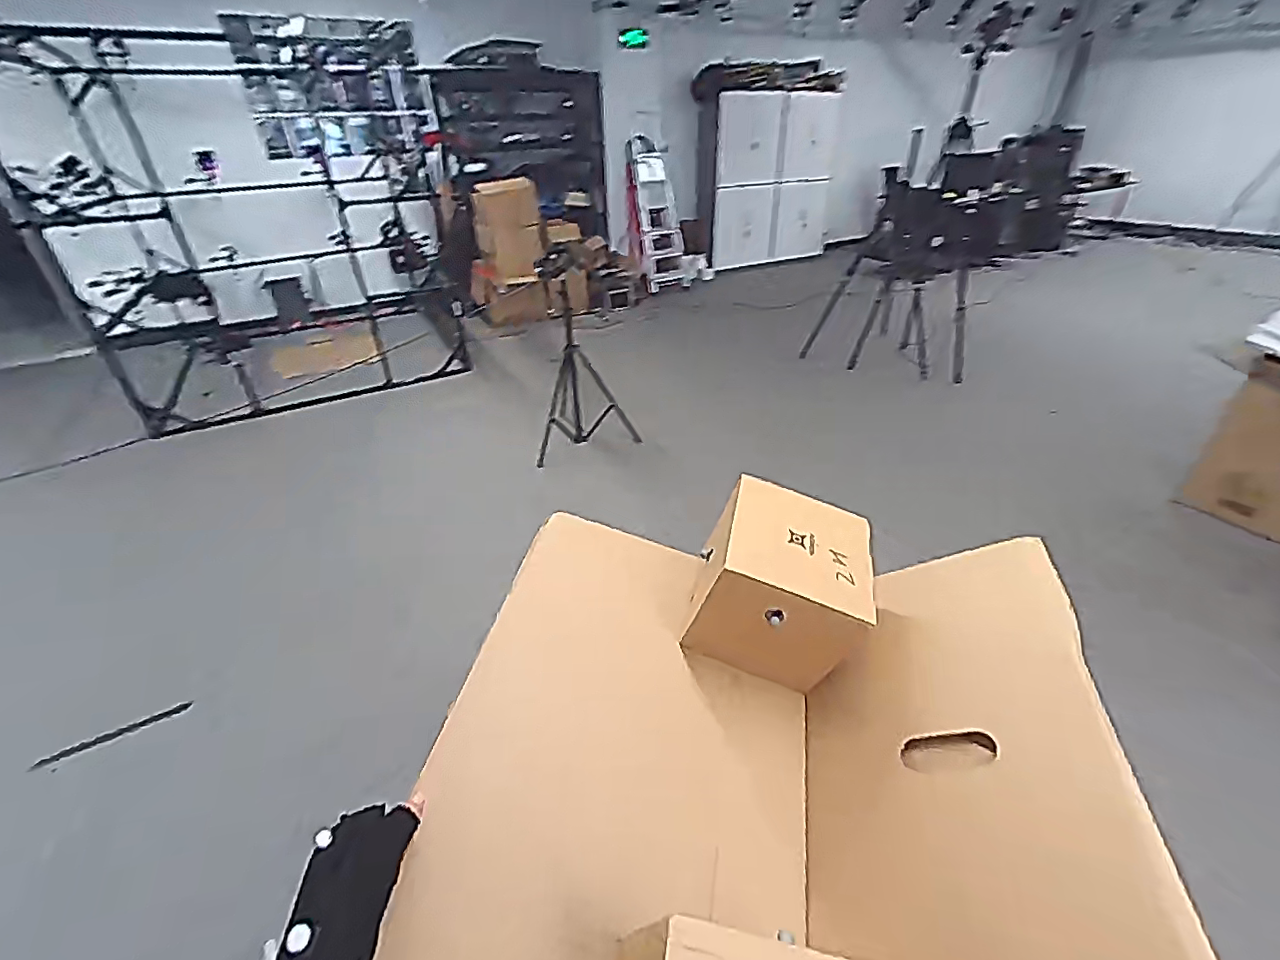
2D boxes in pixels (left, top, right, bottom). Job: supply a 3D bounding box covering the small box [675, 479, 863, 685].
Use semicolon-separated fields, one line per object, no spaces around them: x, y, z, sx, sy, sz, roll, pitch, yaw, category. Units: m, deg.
0.159;0.133;0.692;0.179;0.176;0.168;21;43;2;small box
